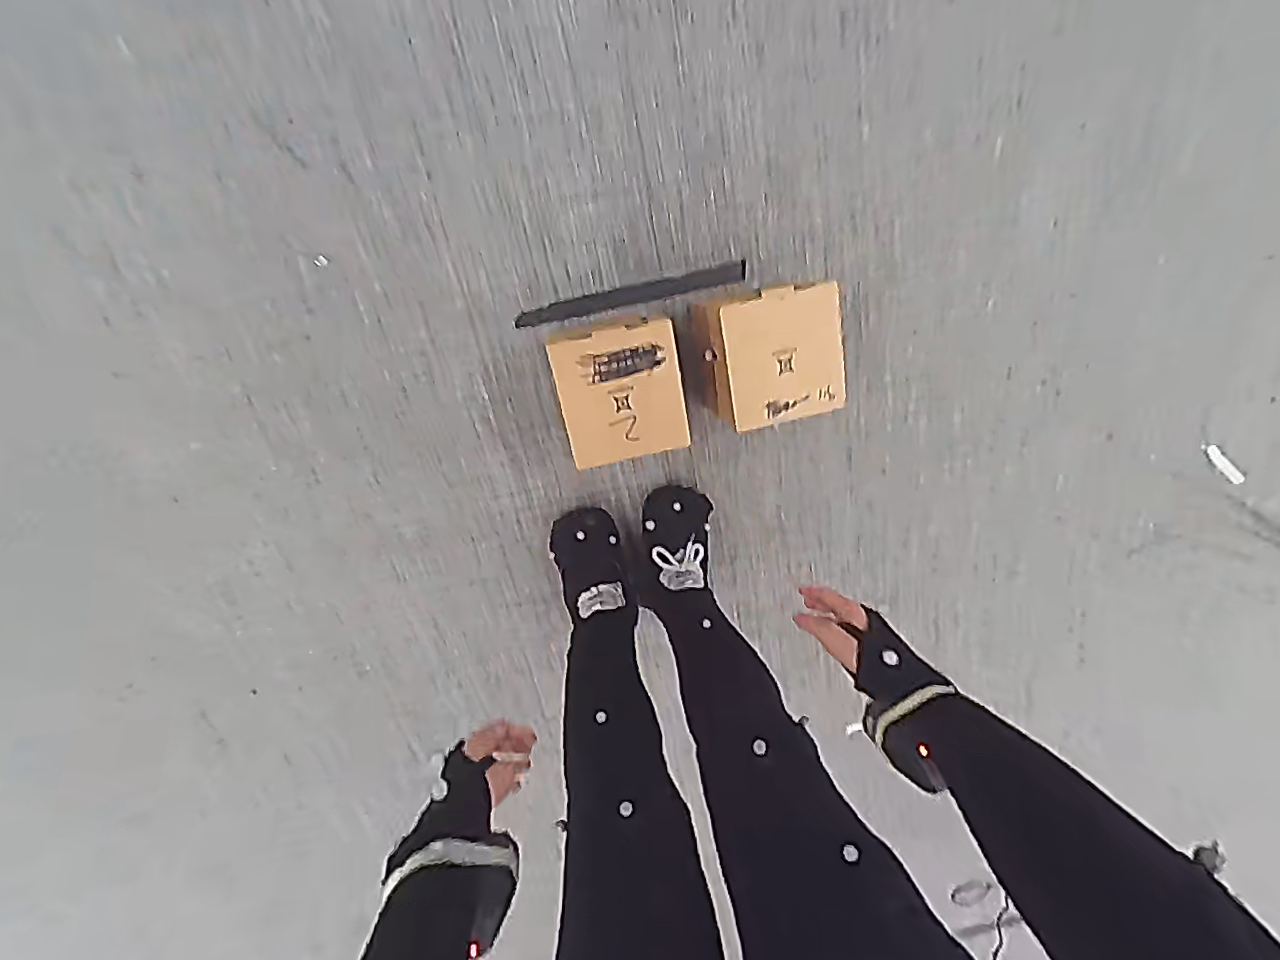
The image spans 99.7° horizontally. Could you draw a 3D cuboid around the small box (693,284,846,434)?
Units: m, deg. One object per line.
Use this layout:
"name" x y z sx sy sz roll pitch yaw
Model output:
"small box" 0.187 -0.185 0.811 0.168 0.176 0.179 -14 110 -4
